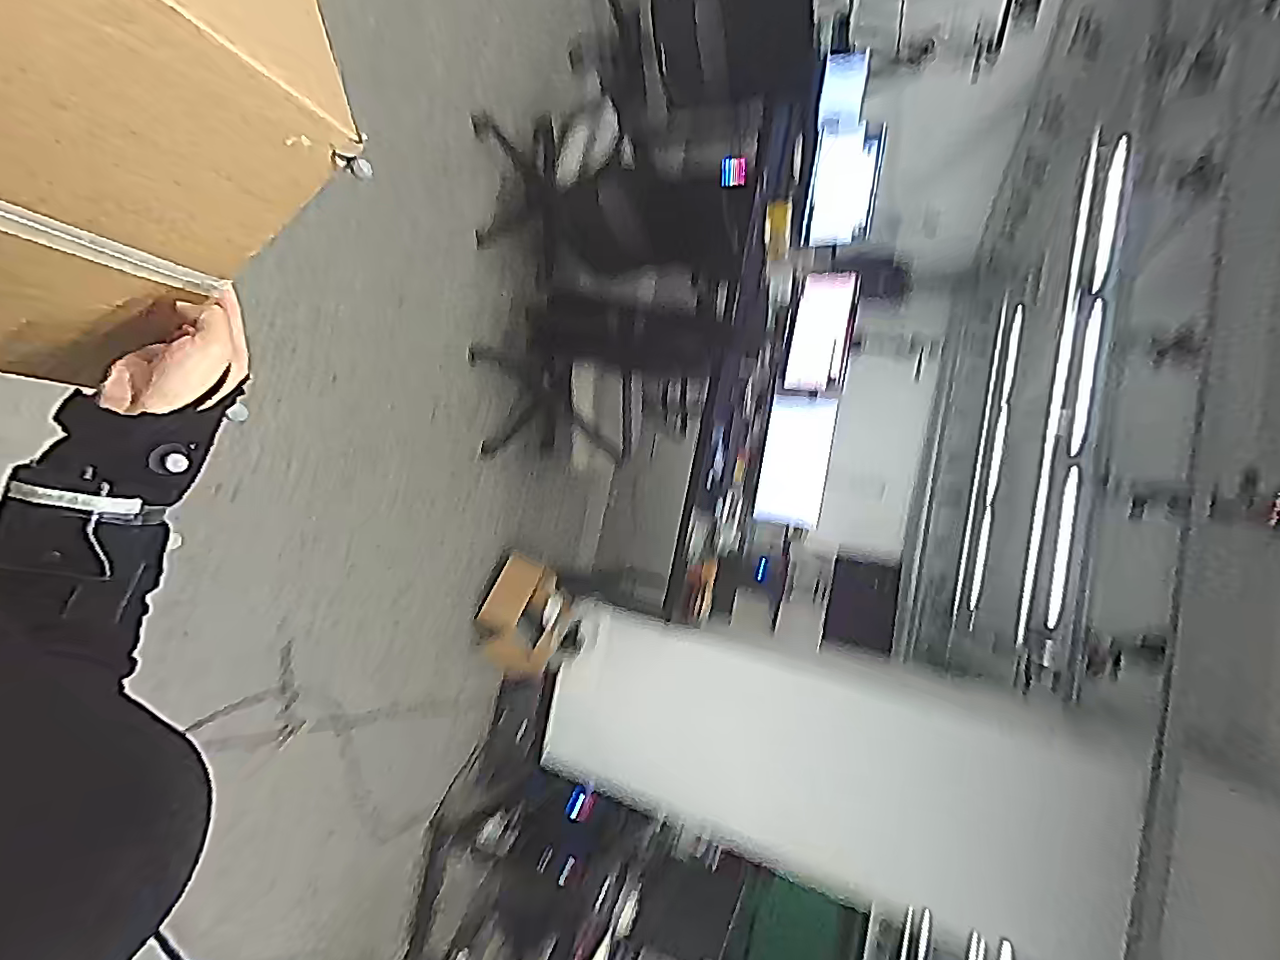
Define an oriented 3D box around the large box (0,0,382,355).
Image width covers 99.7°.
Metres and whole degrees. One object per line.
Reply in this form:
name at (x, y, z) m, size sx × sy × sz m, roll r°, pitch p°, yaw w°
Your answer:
large box at (-0.416, -0.304, 0.231) m, size 0.408 × 0.320 × 0.320 m, roll 4°, pitch 62°, yaw -64°
